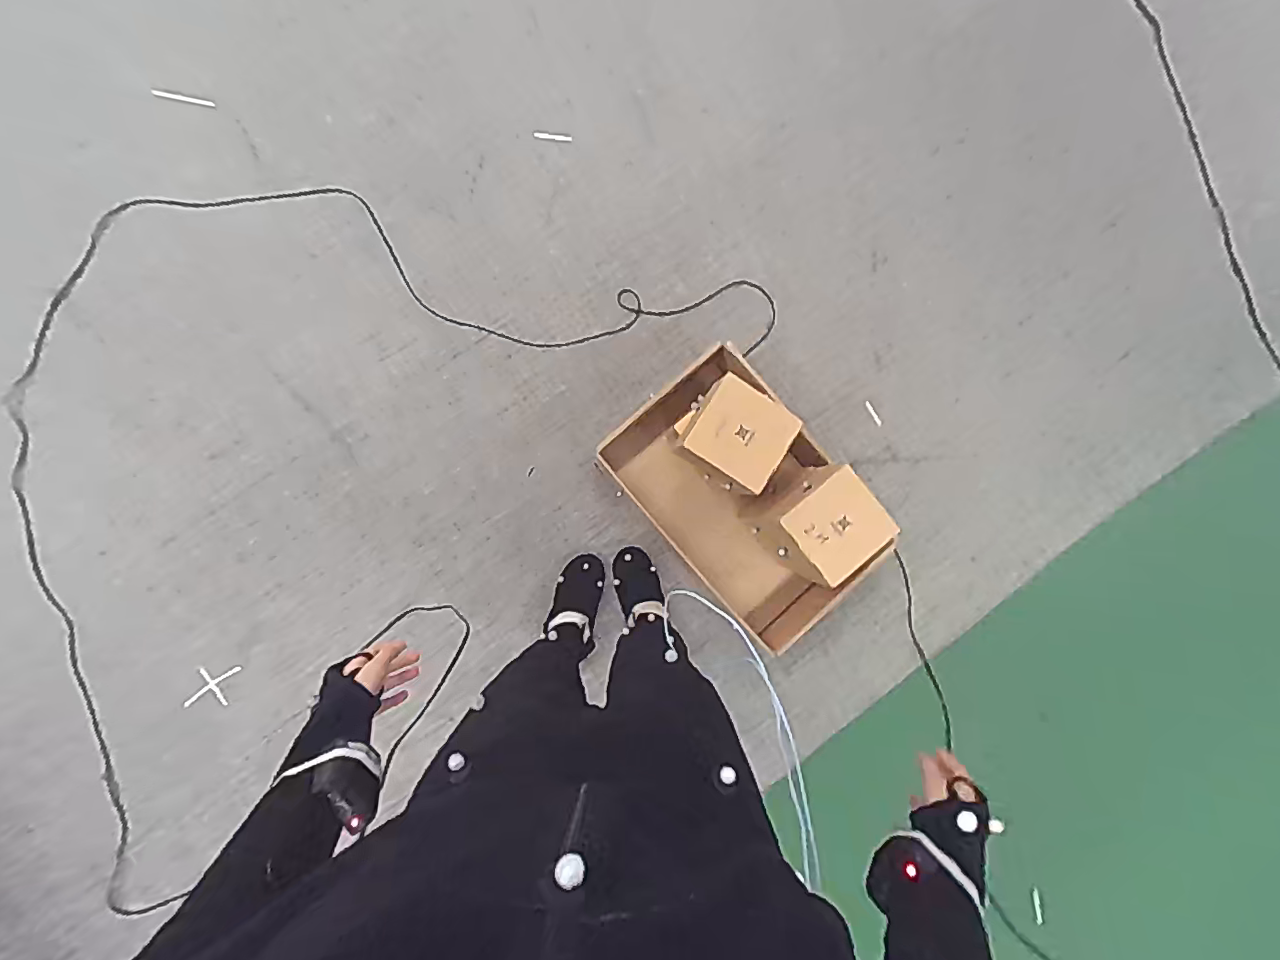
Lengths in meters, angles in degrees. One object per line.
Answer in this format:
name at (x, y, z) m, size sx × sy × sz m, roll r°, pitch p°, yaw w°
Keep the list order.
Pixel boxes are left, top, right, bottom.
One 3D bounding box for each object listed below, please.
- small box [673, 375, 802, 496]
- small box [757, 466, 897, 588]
small box at (0.187, -0.085, 1.088) m, size 0.179 × 0.176 × 0.168 m, roll 33°, pitch 88°, yaw -3°
small box at (0.367, 0.089, 1.093) m, size 0.179 × 0.176 × 0.168 m, roll -39°, pitch 91°, yaw -4°
